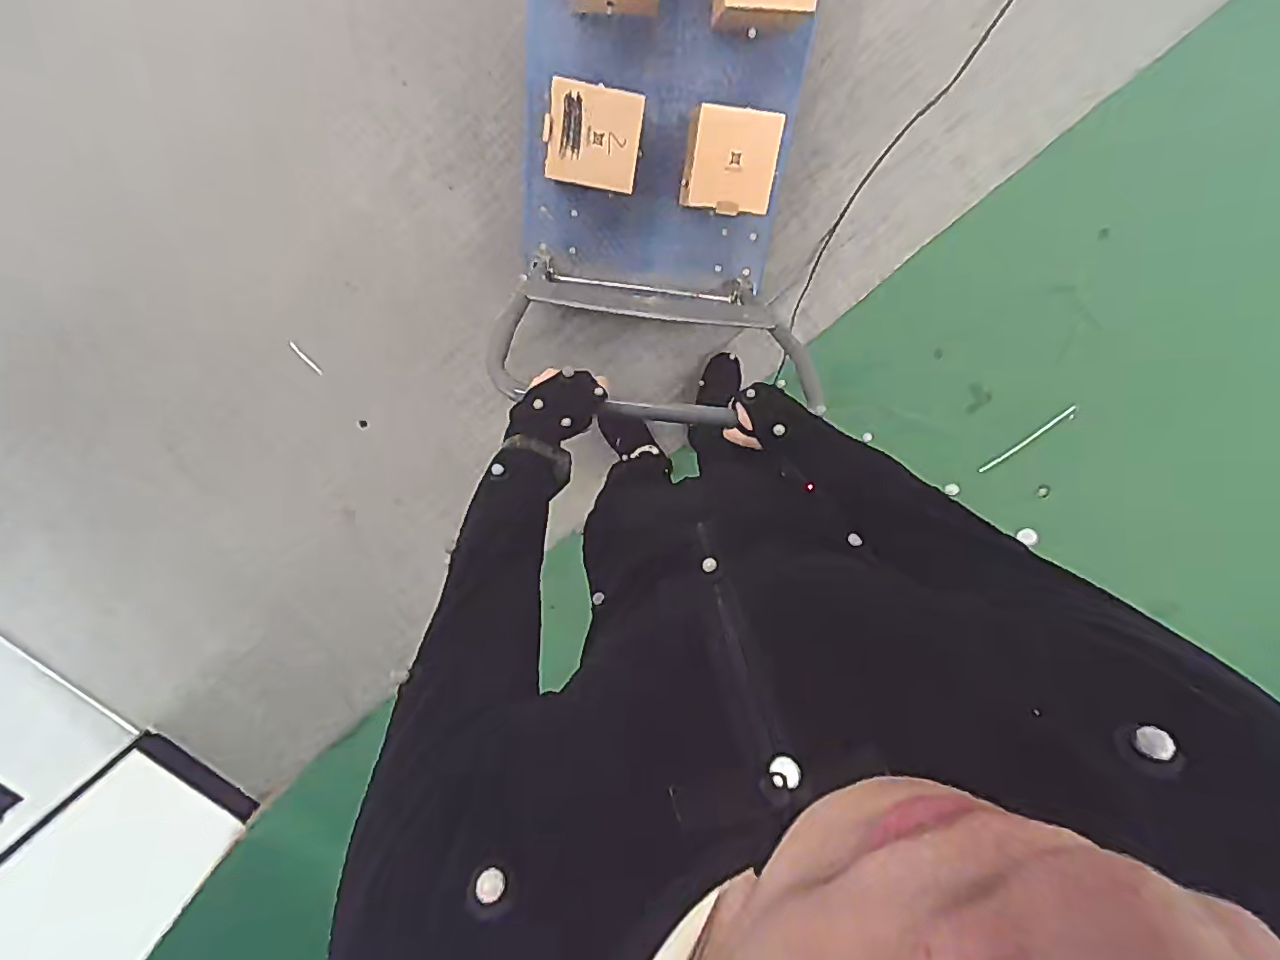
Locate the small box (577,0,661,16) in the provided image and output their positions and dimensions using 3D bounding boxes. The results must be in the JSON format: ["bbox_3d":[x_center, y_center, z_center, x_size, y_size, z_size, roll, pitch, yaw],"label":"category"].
[{"bbox_3d":[-0.036,-0.955,0.956,0.168,0.176,0.179,2,118,-4],"label":"small box"}]

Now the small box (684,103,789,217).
[{"bbox_3d":[0.190,-0.657,1.125,0.168,0.176,0.179,5,118,-5],"label":"small box"}]

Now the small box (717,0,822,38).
[{"bbox_3d":[0.238,-0.935,0.976,0.168,0.176,0.179,2,119,-3],"label":"small box"}]
